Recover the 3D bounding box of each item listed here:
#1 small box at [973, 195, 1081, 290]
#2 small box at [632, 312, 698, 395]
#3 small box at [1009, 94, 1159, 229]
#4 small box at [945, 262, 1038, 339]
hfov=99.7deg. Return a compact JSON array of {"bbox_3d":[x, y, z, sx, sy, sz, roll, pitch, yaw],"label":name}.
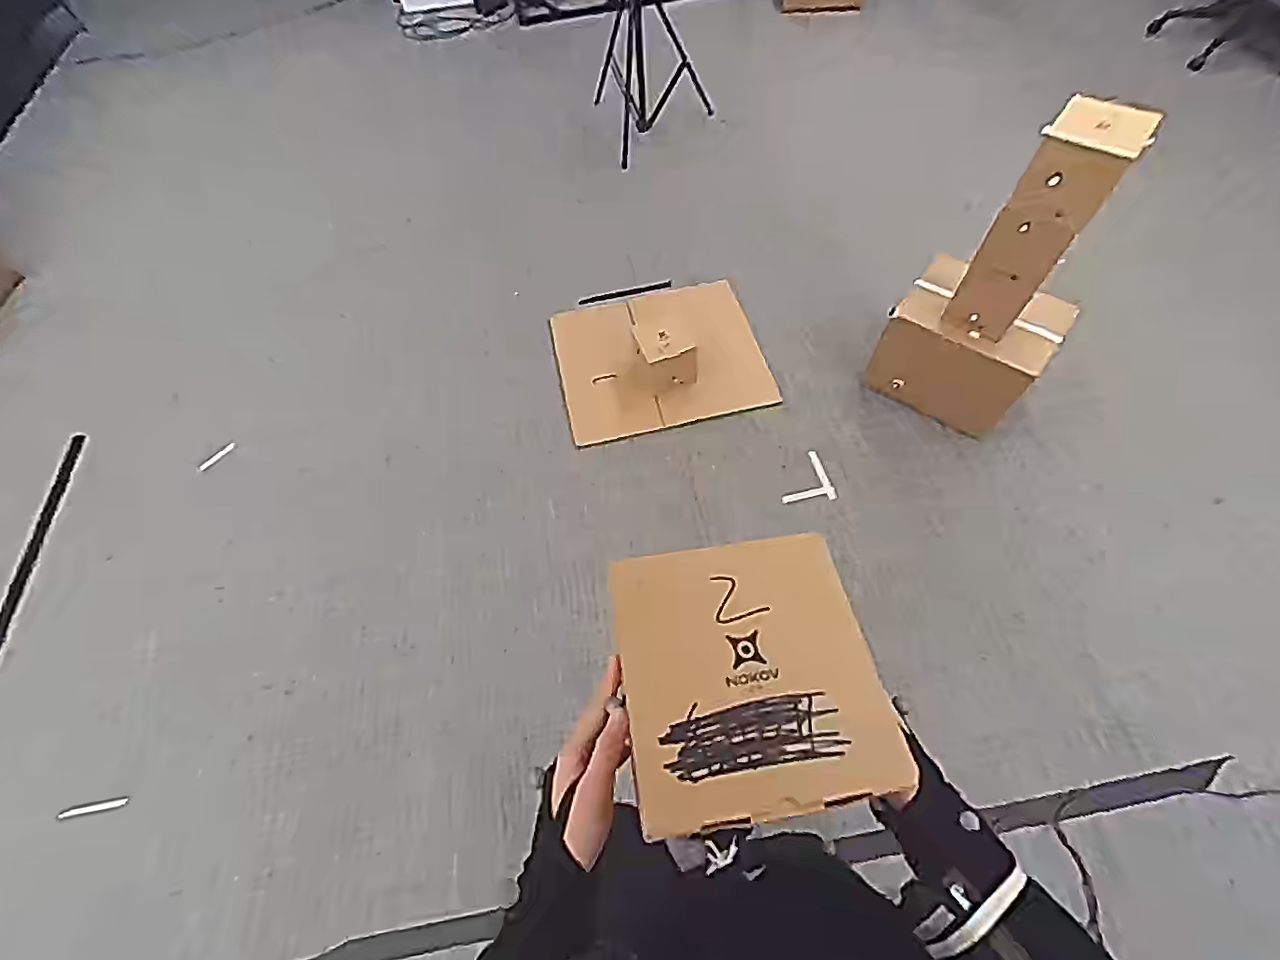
[{"bbox_3d":[0.938,-0.595,1.292,0.168,0.176,0.179,33,67,21],"label":"small box"},{"bbox_3d":[0.084,-0.416,1.789,0.168,0.176,0.179,-21,62,-5],"label":"small box"},{"bbox_3d":[0.929,-0.671,1.148,0.168,0.176,0.179,33,68,20],"label":"small box"},{"bbox_3d":[0.947,-0.512,1.434,0.168,0.176,0.179,33,69,20],"label":"small box"}]
